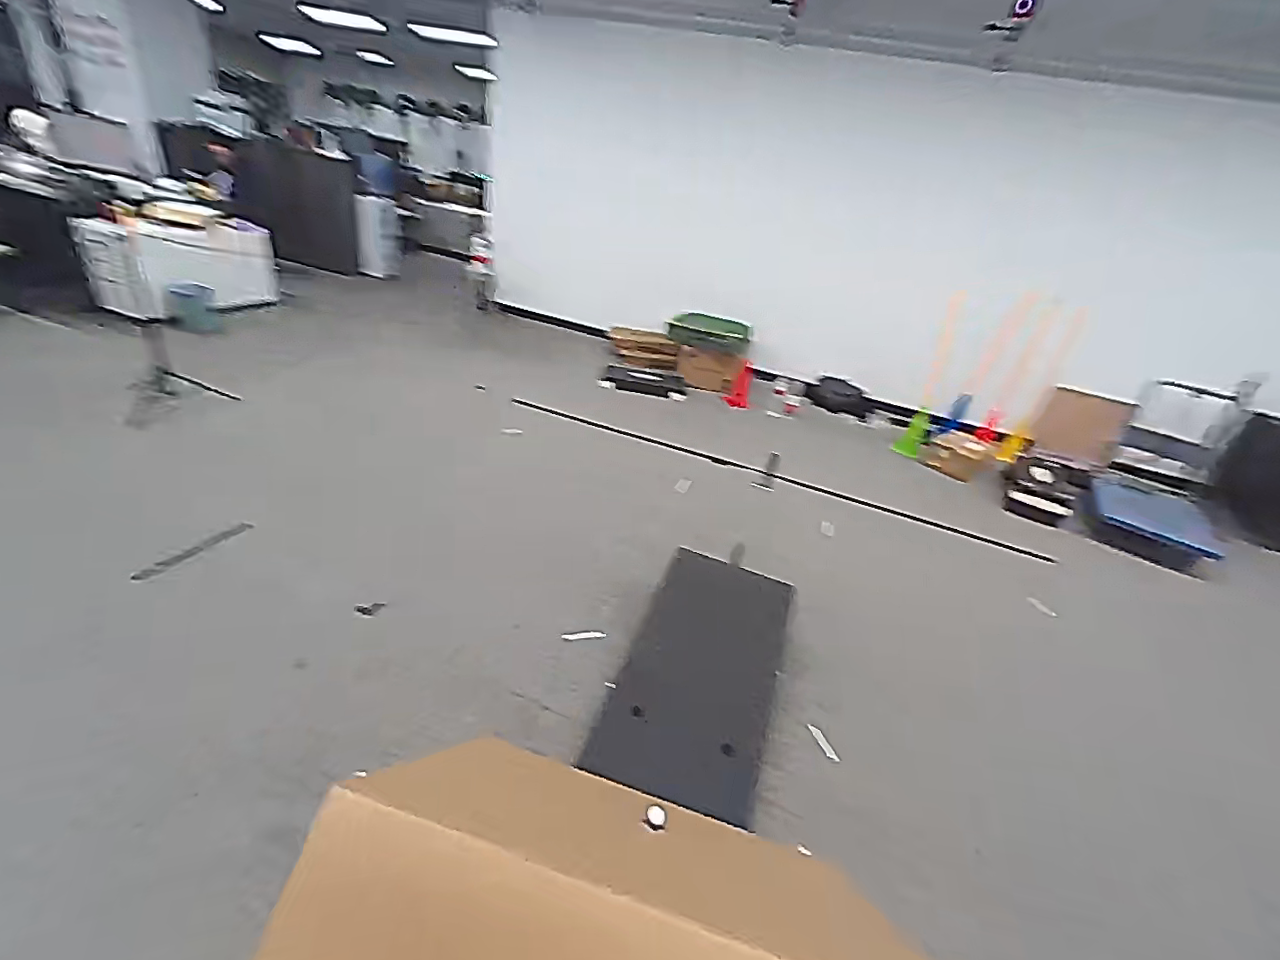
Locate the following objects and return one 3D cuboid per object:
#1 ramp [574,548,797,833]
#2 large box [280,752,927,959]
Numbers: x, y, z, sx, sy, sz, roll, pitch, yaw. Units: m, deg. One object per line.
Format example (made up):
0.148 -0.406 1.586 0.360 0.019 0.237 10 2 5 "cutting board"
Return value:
0.205 0.637 1.769 0.509 0.206 0.991 18 31 11 "ramp"
-0.034 0.437 0.406 0.408 0.320 0.320 15 72 6 "large box"
